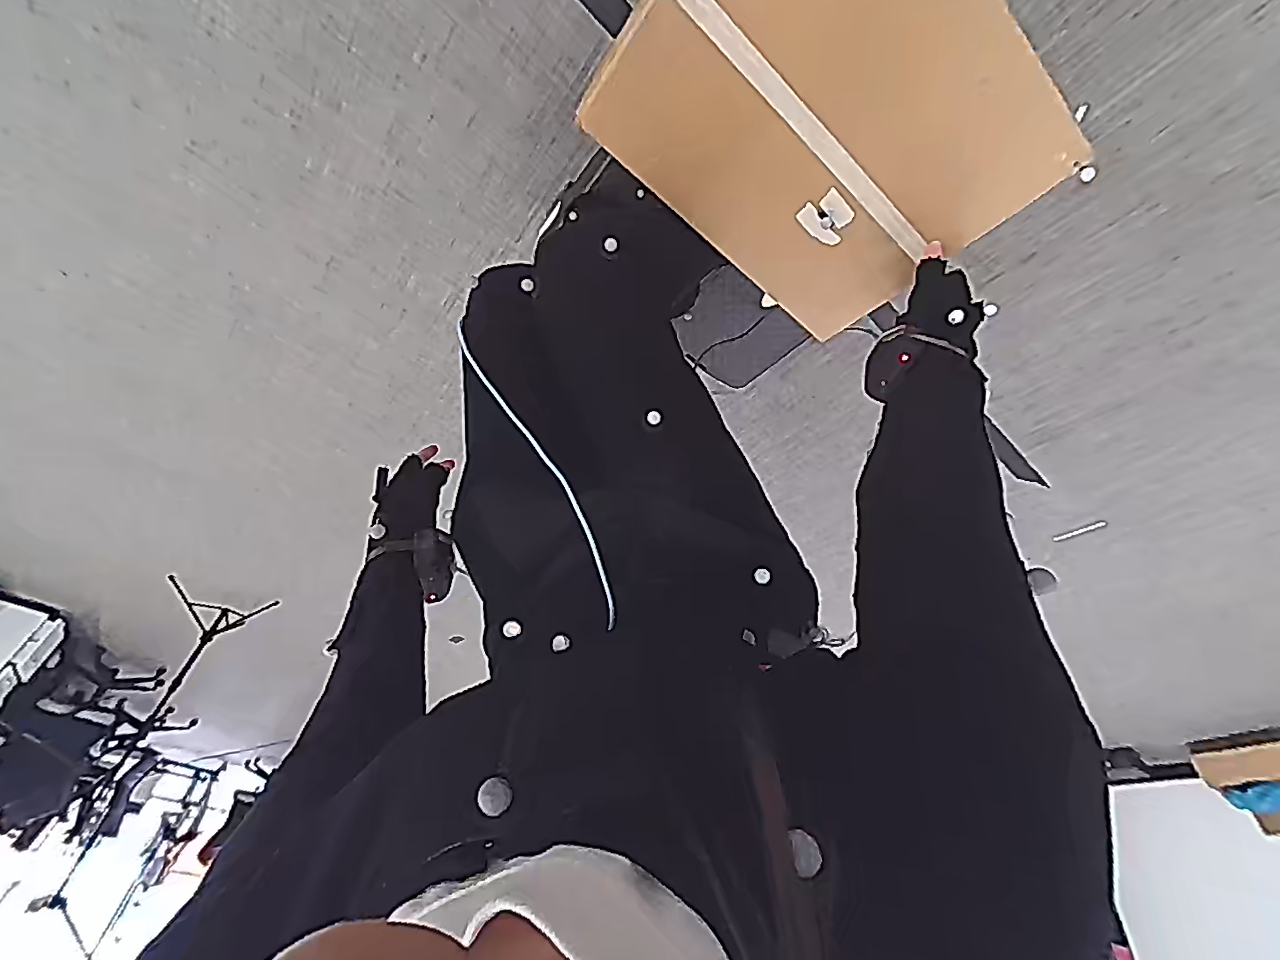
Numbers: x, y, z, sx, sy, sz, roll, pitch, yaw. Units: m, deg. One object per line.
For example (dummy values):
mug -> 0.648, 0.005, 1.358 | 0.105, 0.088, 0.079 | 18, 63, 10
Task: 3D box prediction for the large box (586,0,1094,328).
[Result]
large box -> 0.208, -0.468, 0.622 | 0.408, 0.320, 0.320 | 30, 142, -25
